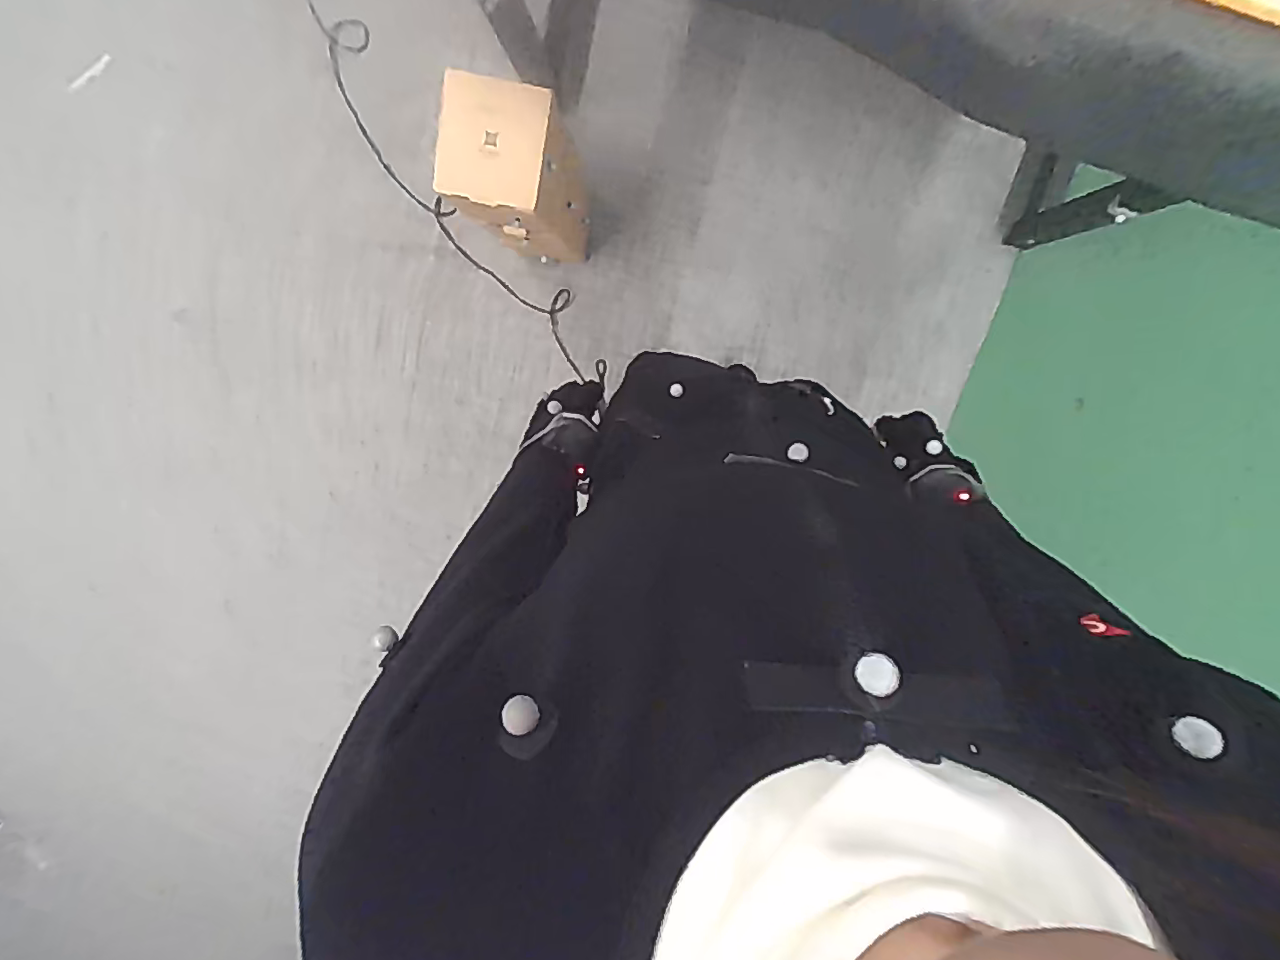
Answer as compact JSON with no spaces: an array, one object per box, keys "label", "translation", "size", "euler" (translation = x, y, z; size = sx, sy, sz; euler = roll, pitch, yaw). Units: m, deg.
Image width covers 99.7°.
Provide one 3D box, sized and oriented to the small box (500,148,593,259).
[{"label":"small box","translation":[-0.204,-0.614,1.219],"size":[0.168,0.176,0.179],"euler":[9,104,1]}]
